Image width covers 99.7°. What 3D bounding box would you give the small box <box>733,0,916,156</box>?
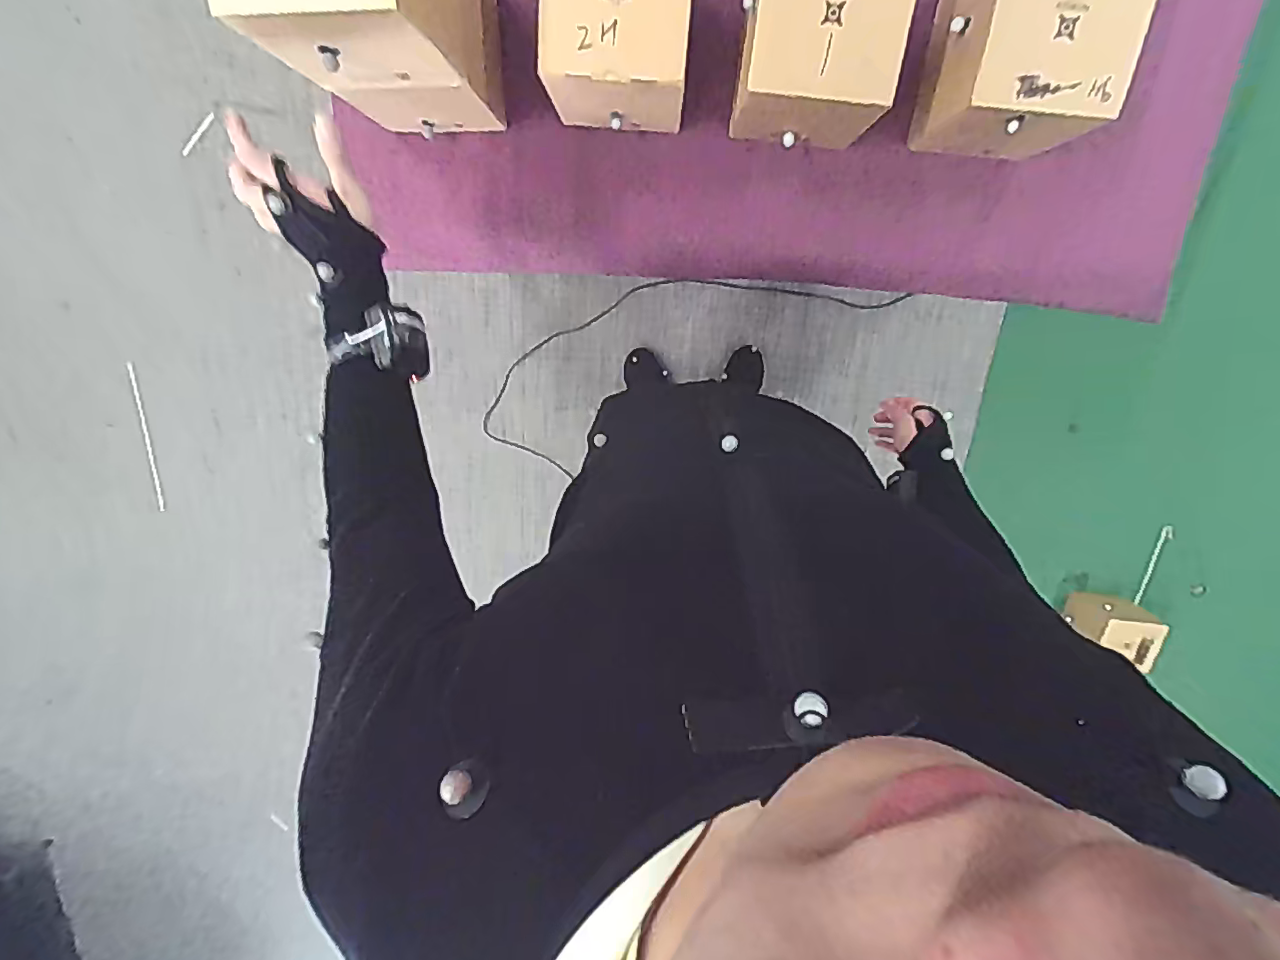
[{"bbox_3d":[0.212,-0.520,0.653,0.168,0.176,0.179,6,108,1],"label":"small box"}]

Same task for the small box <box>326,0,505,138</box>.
[{"bbox_3d":[-0.273,-0.547,0.666,0.168,0.176,0.179,0,107,3],"label":"small box"}]

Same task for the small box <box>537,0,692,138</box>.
[{"bbox_3d":[-0.024,-0.546,0.655,0.168,0.176,0.179,6,107,1],"label":"small box"}]

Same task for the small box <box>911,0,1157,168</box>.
[{"bbox_3d":[0.455,-0.501,0.648,0.168,0.176,0.179,7,106,1],"label":"small box"}]

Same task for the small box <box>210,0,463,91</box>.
[{"bbox_3d":[-0.280,-0.496,0.512,0.168,0.176,0.179,1,106,3],"label":"small box"}]
